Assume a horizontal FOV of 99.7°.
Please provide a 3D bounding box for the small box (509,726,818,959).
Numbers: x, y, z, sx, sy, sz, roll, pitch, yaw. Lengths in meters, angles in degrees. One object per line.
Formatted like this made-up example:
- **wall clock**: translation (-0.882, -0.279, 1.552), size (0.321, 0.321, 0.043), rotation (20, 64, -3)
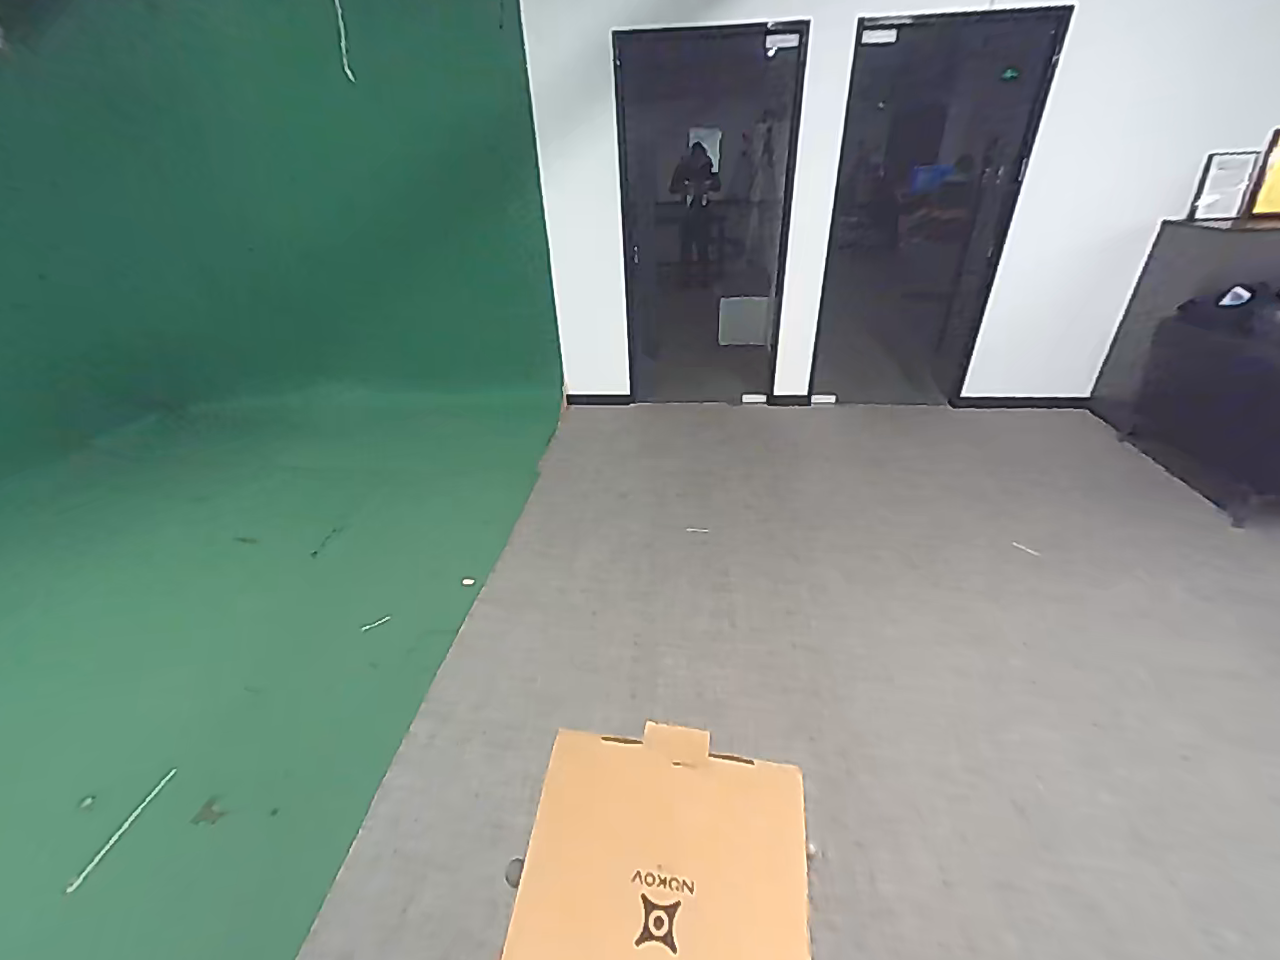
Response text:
- **small box**: translation (0.017, 0.293, 0.361), size (0.168, 0.176, 0.179), rotation (6, 46, 6)
